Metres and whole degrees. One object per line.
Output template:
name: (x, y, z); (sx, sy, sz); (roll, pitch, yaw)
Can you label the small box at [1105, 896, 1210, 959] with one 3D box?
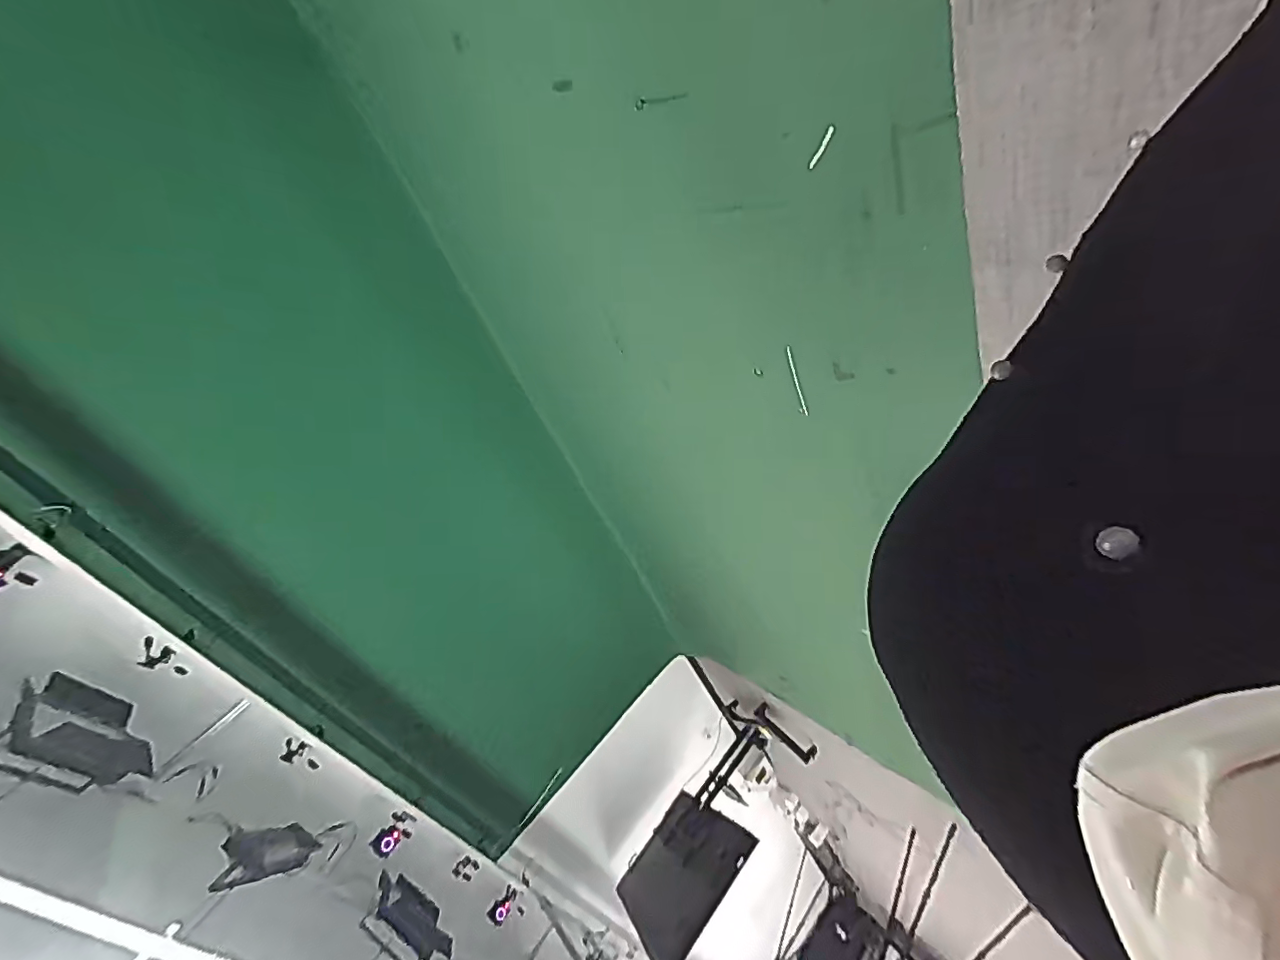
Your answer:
small box: (1.322, 1.228, 1.384); (0.168, 0.176, 0.179); (13, 139, 51)
